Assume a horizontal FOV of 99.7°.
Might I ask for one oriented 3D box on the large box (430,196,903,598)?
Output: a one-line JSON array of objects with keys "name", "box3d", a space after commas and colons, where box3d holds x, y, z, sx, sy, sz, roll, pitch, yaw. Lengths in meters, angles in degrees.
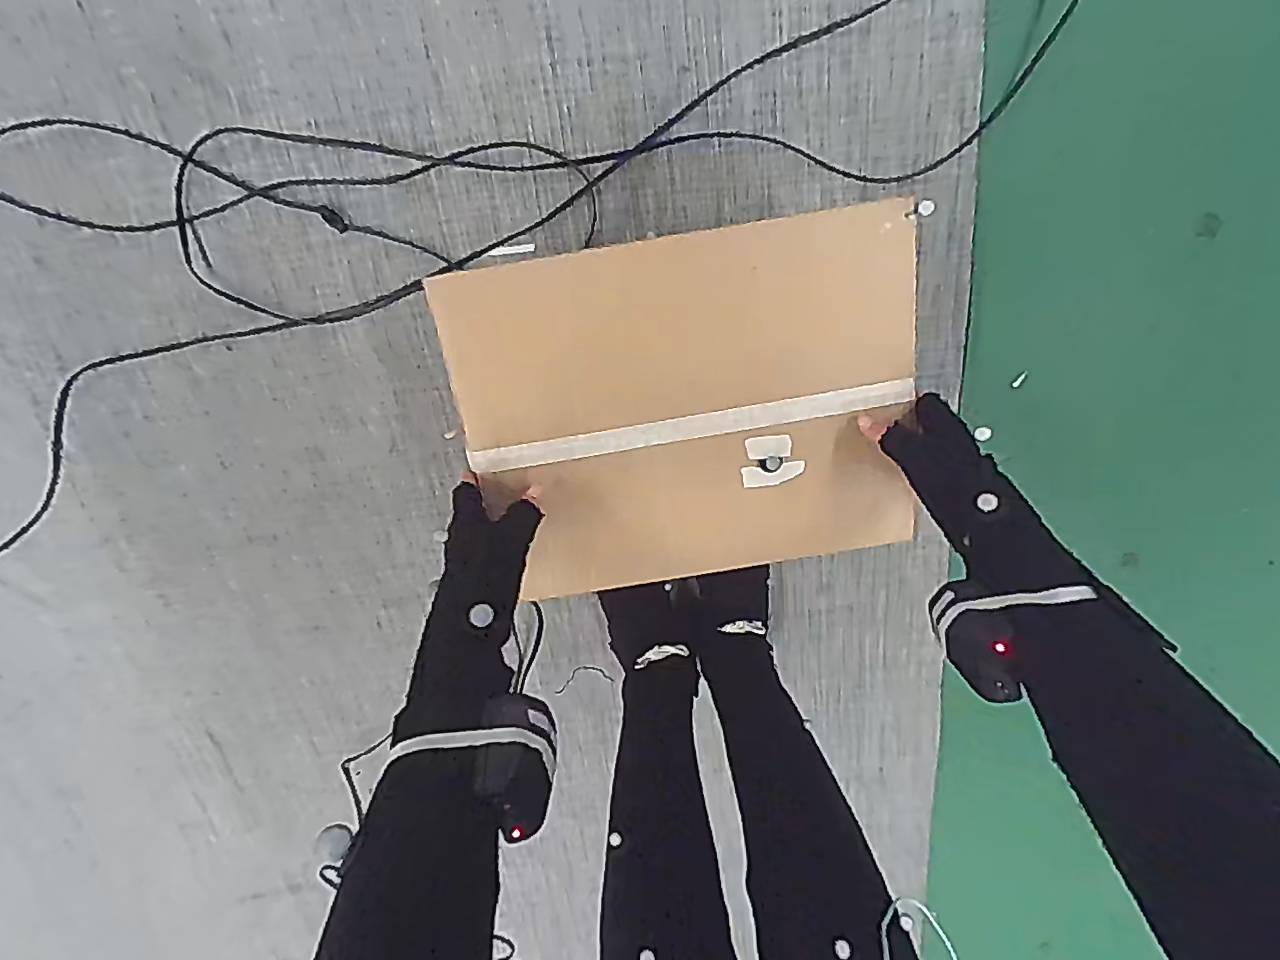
[{"name": "large box", "box3d": [0.035, -0.105, 0.636, 0.408, 0.320, 0.320, -10, 111, 1]}]
